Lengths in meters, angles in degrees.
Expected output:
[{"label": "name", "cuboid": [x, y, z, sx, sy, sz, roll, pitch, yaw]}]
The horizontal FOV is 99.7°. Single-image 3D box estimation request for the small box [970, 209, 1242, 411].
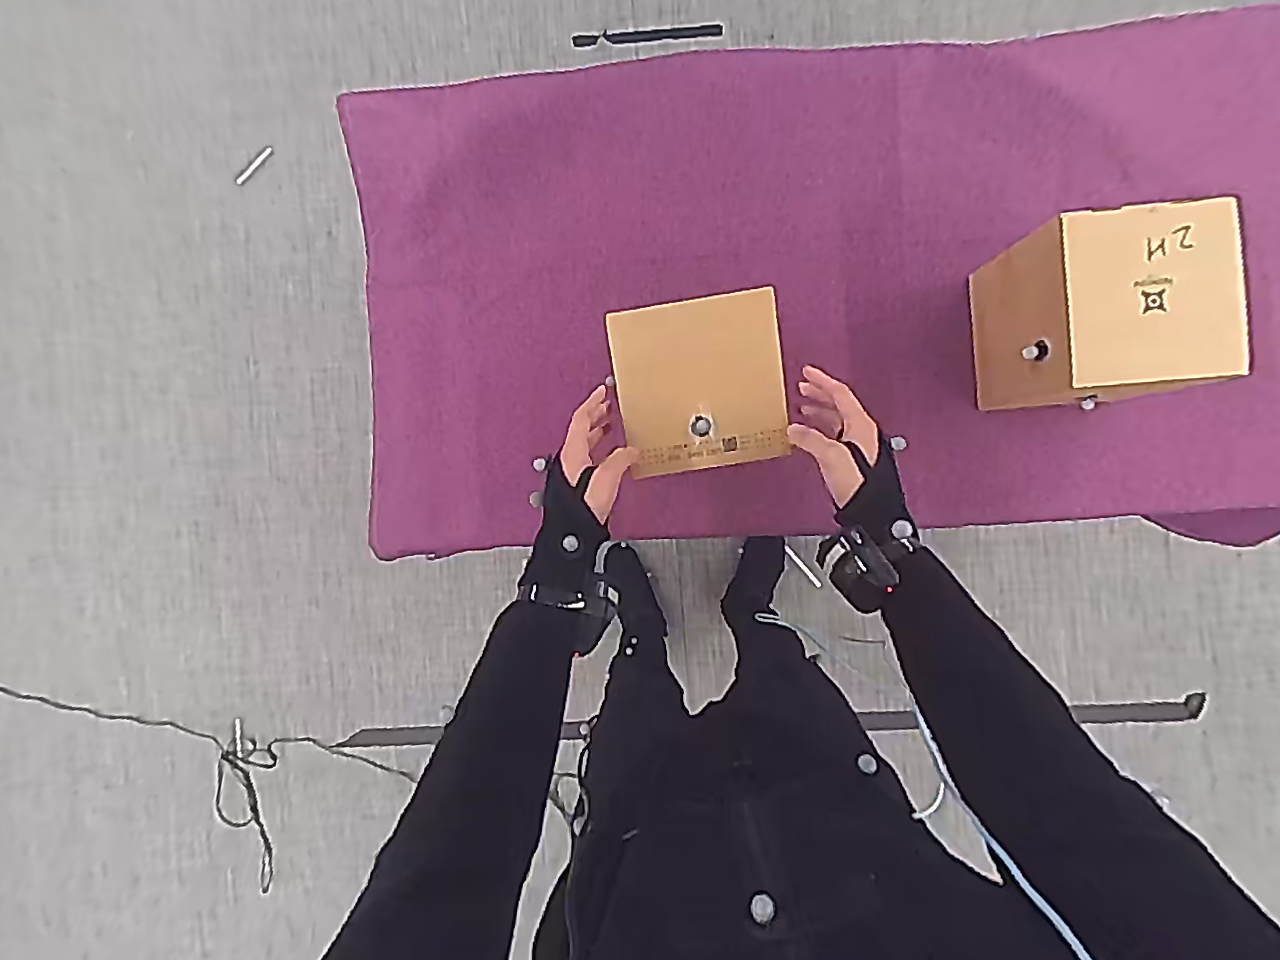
[{"label": "small box", "cuboid": [0.503, -0.173, 0.609, 0.168, 0.176, 0.179, -4, 90, 3]}]
